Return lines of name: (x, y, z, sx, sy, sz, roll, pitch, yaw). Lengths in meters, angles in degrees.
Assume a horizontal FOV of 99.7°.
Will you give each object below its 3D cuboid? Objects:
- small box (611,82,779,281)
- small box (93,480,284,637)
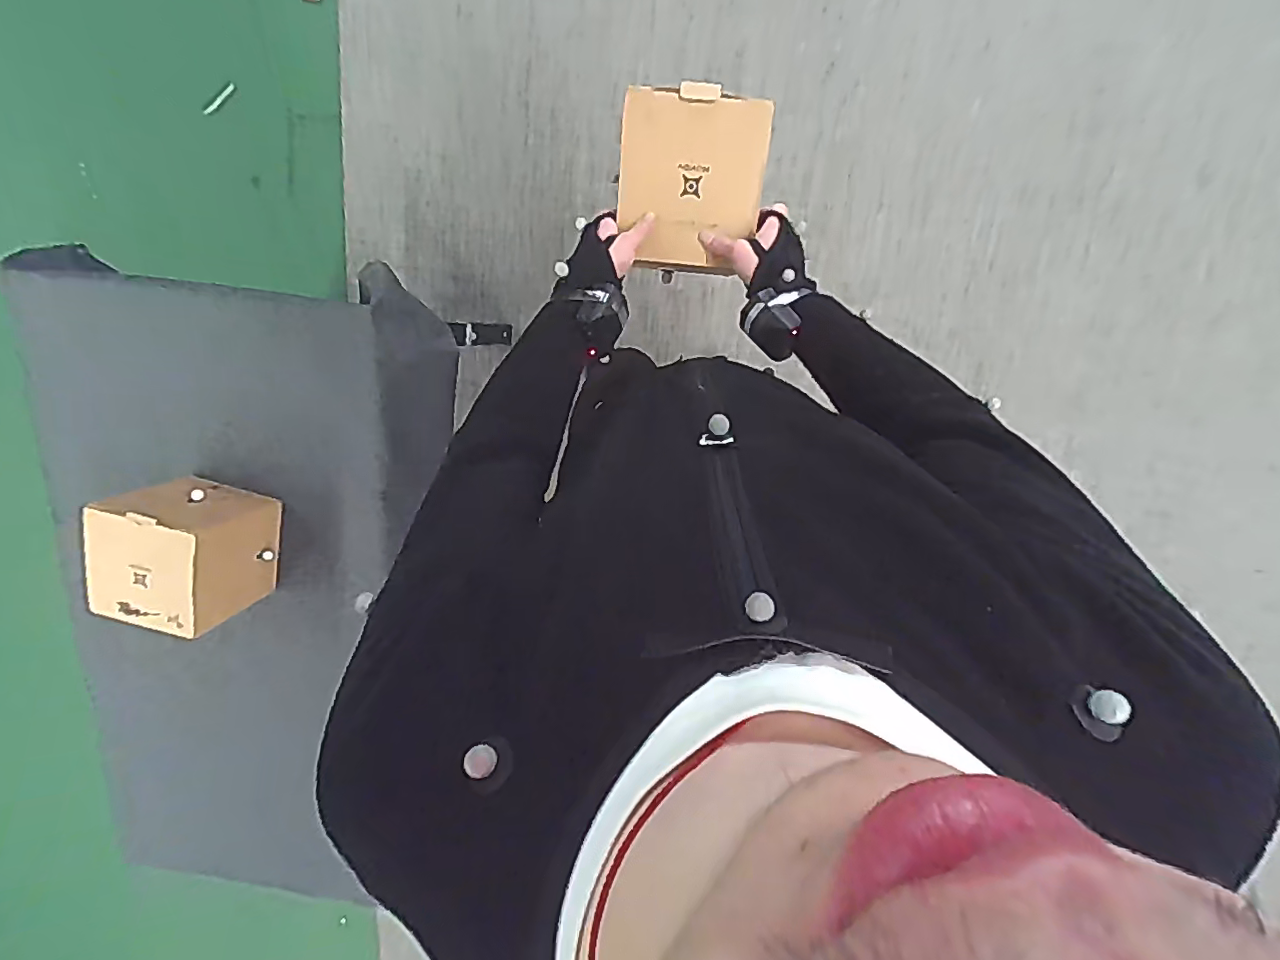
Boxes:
small box: (0.059, -0.352, 0.673, 0.168, 0.176, 0.179, 7, 108, -1)
small box: (-0.704, 0.113, 0.858, 0.168, 0.176, 0.179, 15, 105, 1)
